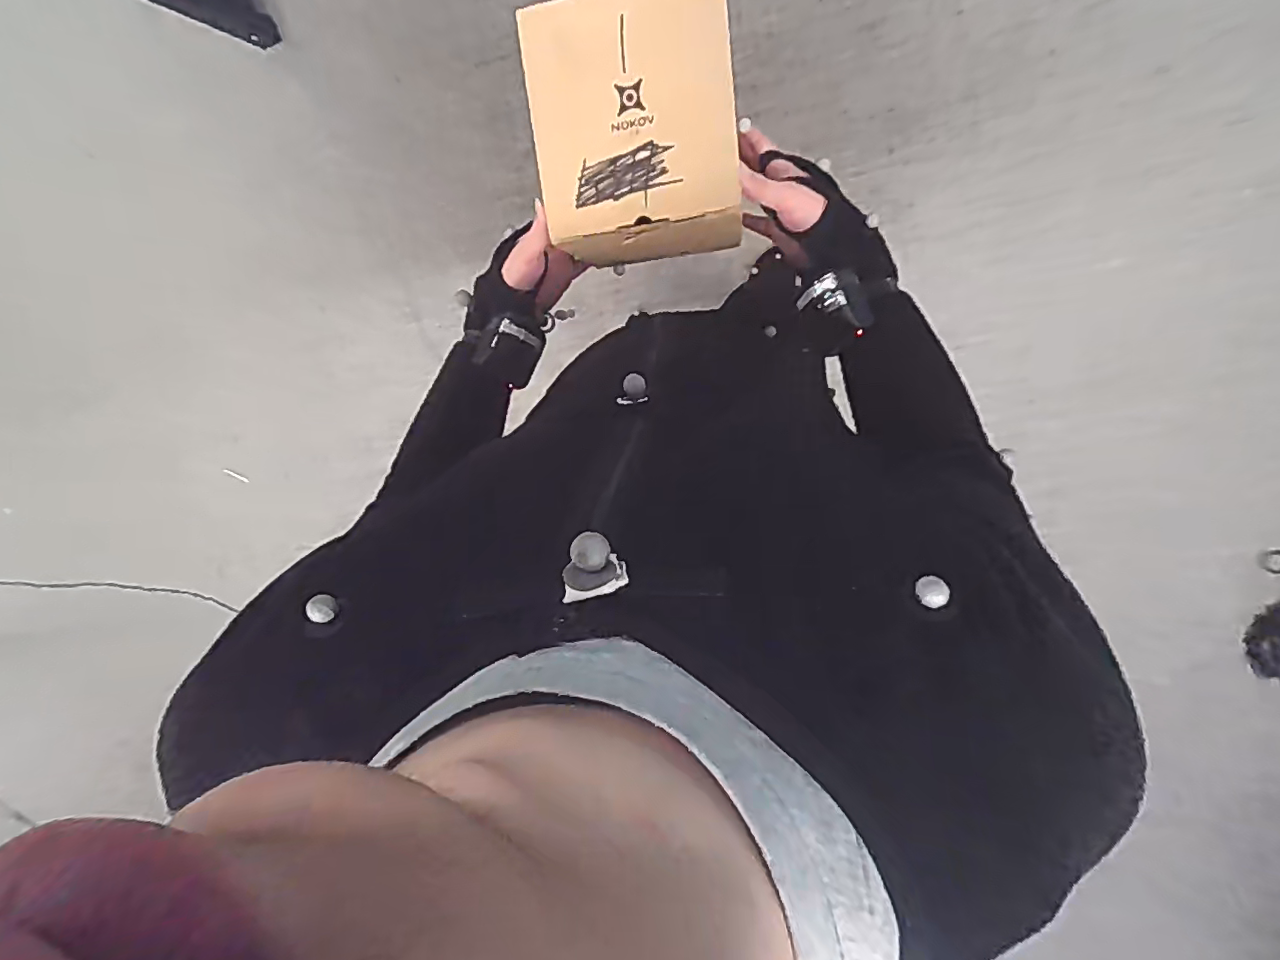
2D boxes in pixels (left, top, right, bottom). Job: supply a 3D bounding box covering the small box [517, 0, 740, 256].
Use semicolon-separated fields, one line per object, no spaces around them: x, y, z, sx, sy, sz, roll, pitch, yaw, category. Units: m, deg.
0.006;-0.316;0.502;0.168;0.176;0.179;-5;103;10;small box
